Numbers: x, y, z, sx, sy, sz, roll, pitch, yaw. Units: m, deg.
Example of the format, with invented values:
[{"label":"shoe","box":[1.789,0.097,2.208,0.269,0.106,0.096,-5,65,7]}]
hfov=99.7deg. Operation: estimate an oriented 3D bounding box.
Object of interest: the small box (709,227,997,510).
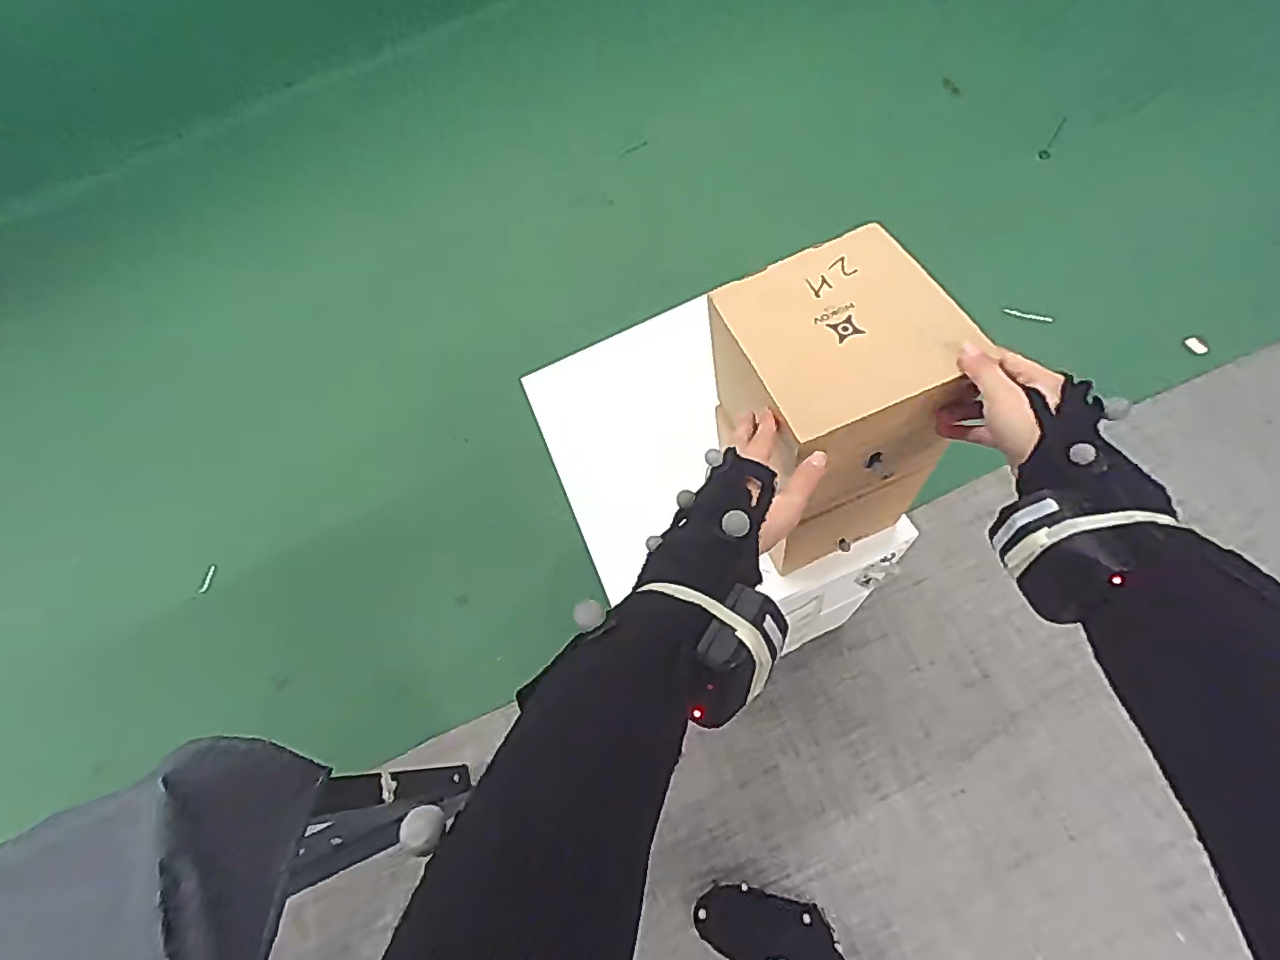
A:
[{"label":"small box","box":[0.178,-0.090,0.509,0.168,0.176,0.179,-22,61,0]}]
